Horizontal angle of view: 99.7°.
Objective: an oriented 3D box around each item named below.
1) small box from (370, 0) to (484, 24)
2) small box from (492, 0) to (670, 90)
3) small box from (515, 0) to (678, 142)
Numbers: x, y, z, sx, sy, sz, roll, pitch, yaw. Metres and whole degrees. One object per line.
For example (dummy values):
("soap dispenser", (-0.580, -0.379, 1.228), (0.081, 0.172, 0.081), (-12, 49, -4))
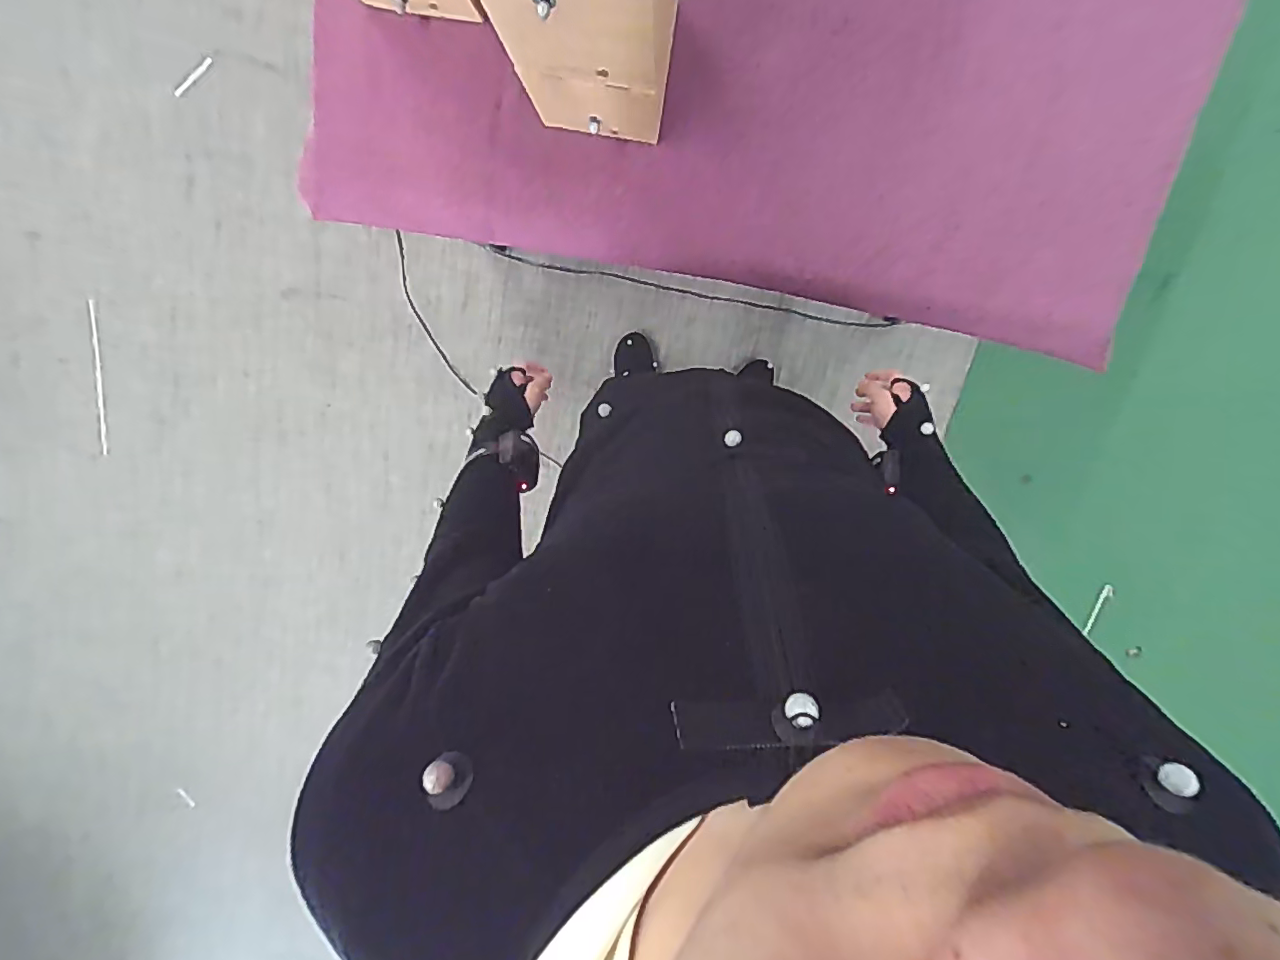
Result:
("small box", (-0.285, -0.696, 0.640), (0.168, 0.176, 0.179), (9, 106, 0))
("small box", (-0.051, -0.514, 0.509), (0.168, 0.176, 0.179), (9, 104, 0))
("small box", (-0.045, -0.554, 0.668), (0.168, 0.176, 0.179), (10, 105, 0))
